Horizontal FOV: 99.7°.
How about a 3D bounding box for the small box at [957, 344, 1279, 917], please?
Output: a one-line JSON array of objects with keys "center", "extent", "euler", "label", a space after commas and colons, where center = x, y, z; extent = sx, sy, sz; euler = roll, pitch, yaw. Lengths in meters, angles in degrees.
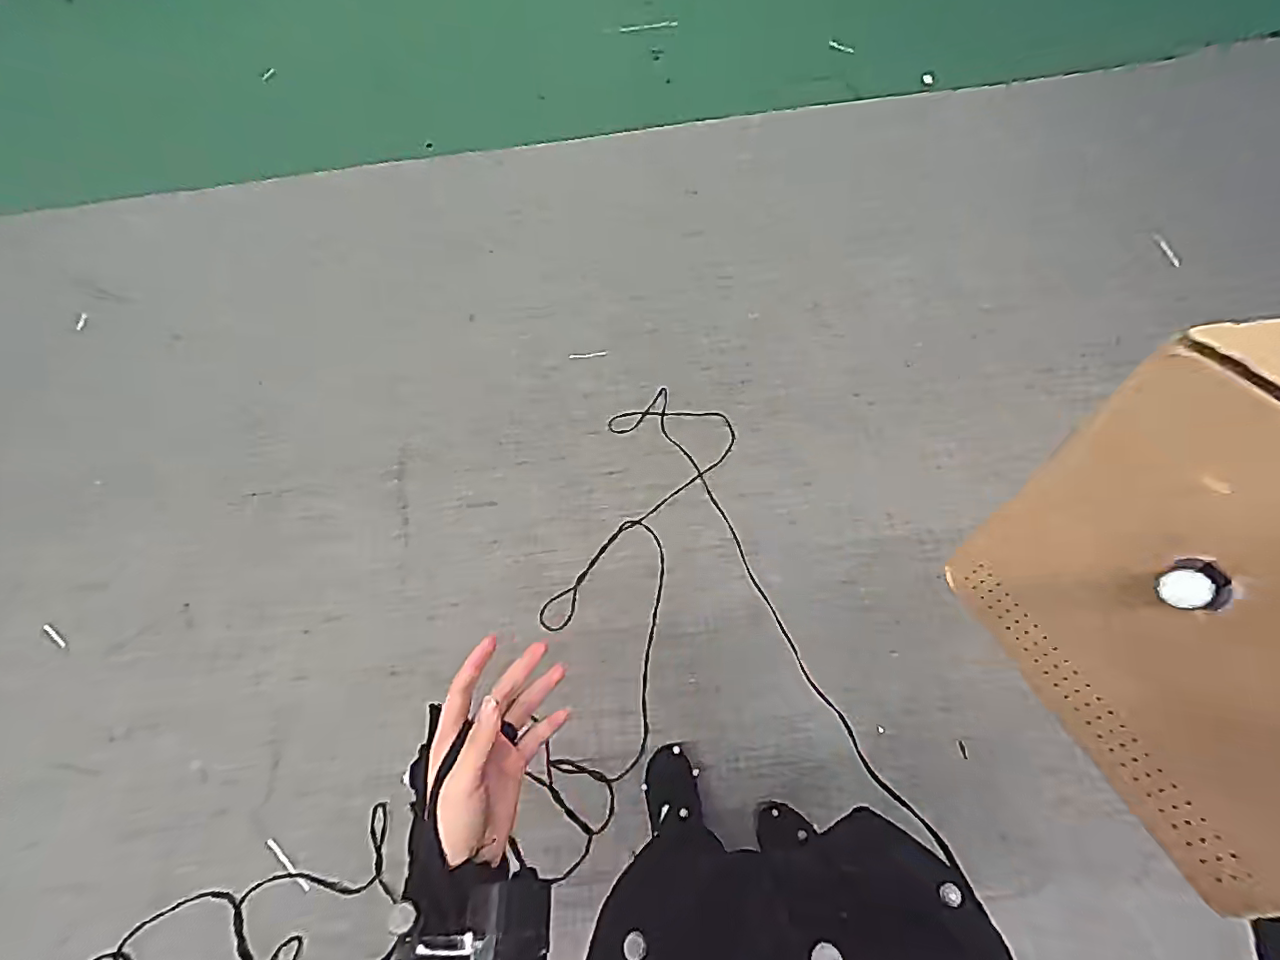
[{"center": [0.296, 0.056, 0.246], "extent": [0.168, 0.176, 0.179], "euler": [-10, 50, -20], "label": "small box"}]
